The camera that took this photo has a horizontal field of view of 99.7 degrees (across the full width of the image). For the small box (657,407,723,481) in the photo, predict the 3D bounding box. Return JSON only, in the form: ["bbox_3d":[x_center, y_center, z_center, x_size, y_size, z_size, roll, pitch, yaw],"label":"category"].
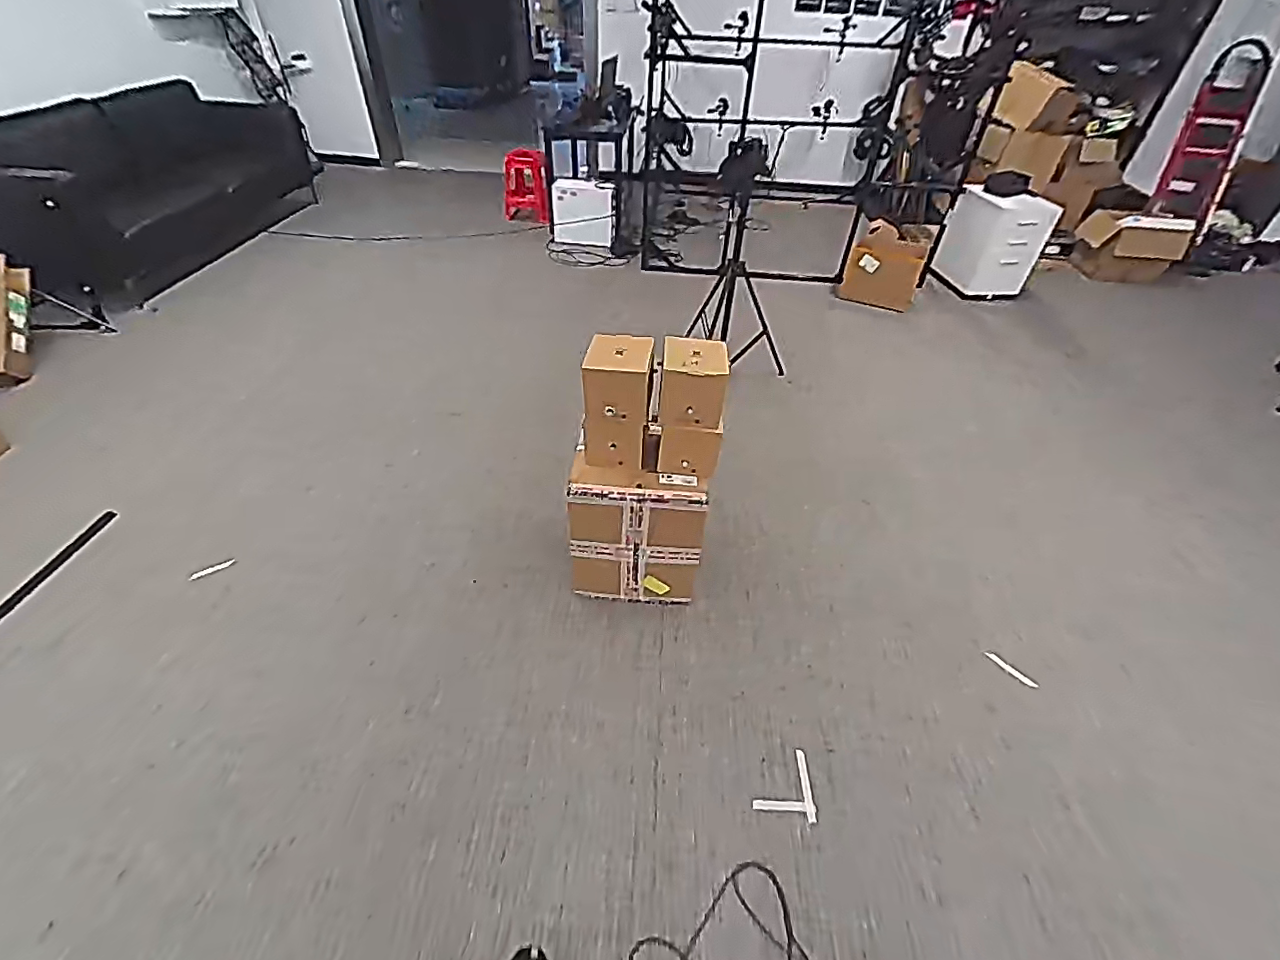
[{"bbox_3d":[0.141,-0.121,1.549,0.168,0.176,0.179,7,44,2],"label":"small box"}]

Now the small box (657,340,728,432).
[{"bbox_3d":[0.137,-0.251,1.446,0.168,0.176,0.179,5,43,0],"label":"small box"}]

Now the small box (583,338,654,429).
[{"bbox_3d":[-0.053,-0.258,1.441,0.168,0.176,0.179,4,45,5],"label":"small box"}]

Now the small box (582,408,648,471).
[{"bbox_3d":[-0.066,-0.144,1.559,0.168,0.176,0.179,5,44,4],"label":"small box"}]
